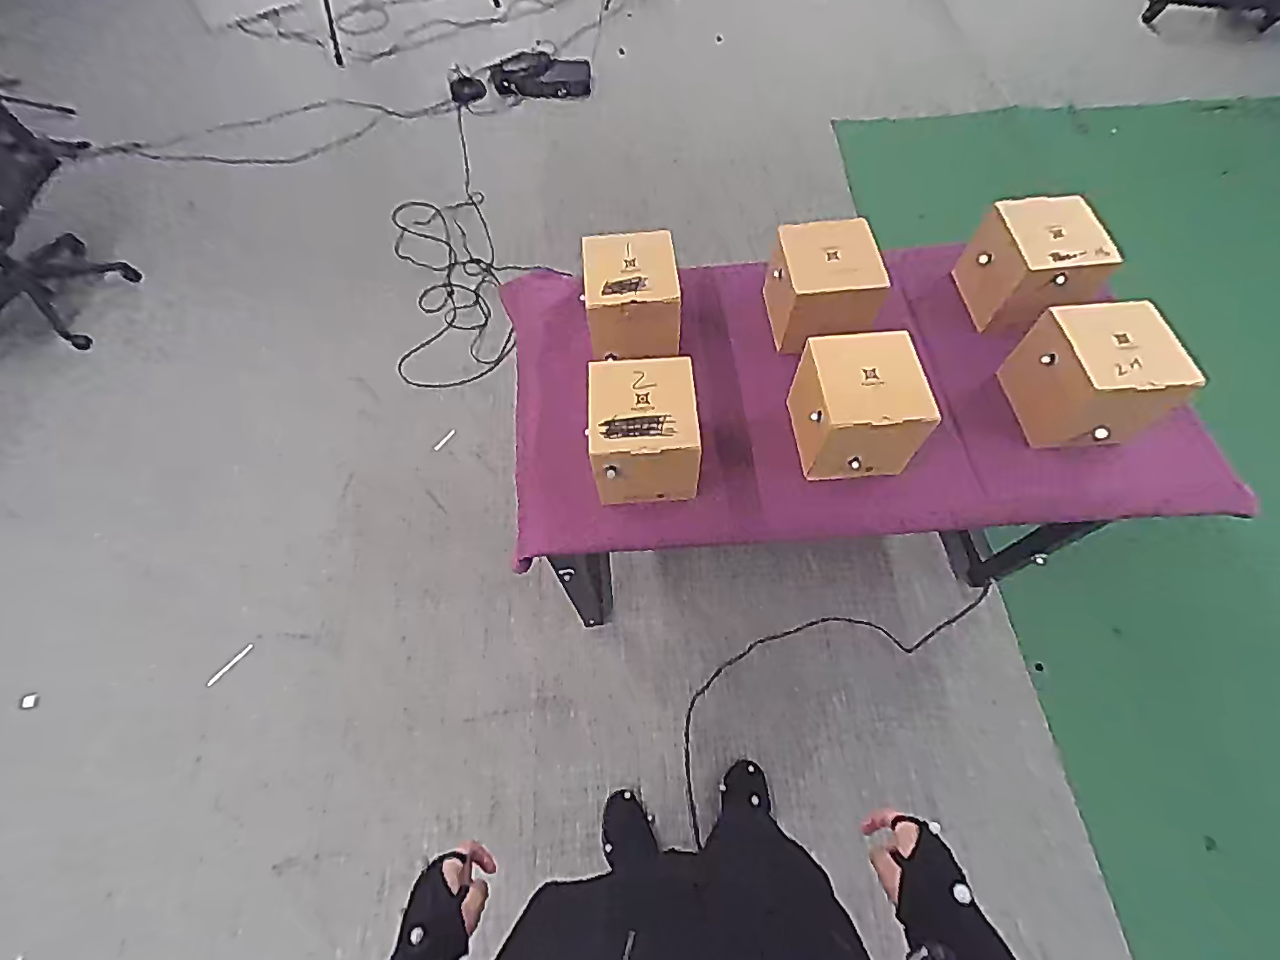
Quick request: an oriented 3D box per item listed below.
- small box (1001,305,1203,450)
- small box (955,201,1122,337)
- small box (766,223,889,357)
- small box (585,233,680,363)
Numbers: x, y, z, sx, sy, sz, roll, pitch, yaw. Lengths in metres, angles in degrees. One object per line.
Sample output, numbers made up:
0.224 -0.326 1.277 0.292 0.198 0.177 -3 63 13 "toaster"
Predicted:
0.757 -0.169 0.915 0.168 0.176 0.179 -3 61 2 "small box"
0.745 -0.400 1.037 0.168 0.176 0.179 -5 63 0 "small box"
0.344 -0.359 1.033 0.168 0.176 0.179 -4 63 1 "small box"
-0.013 -0.337 1.031 0.168 0.176 0.179 -5 62 -1 "small box"
